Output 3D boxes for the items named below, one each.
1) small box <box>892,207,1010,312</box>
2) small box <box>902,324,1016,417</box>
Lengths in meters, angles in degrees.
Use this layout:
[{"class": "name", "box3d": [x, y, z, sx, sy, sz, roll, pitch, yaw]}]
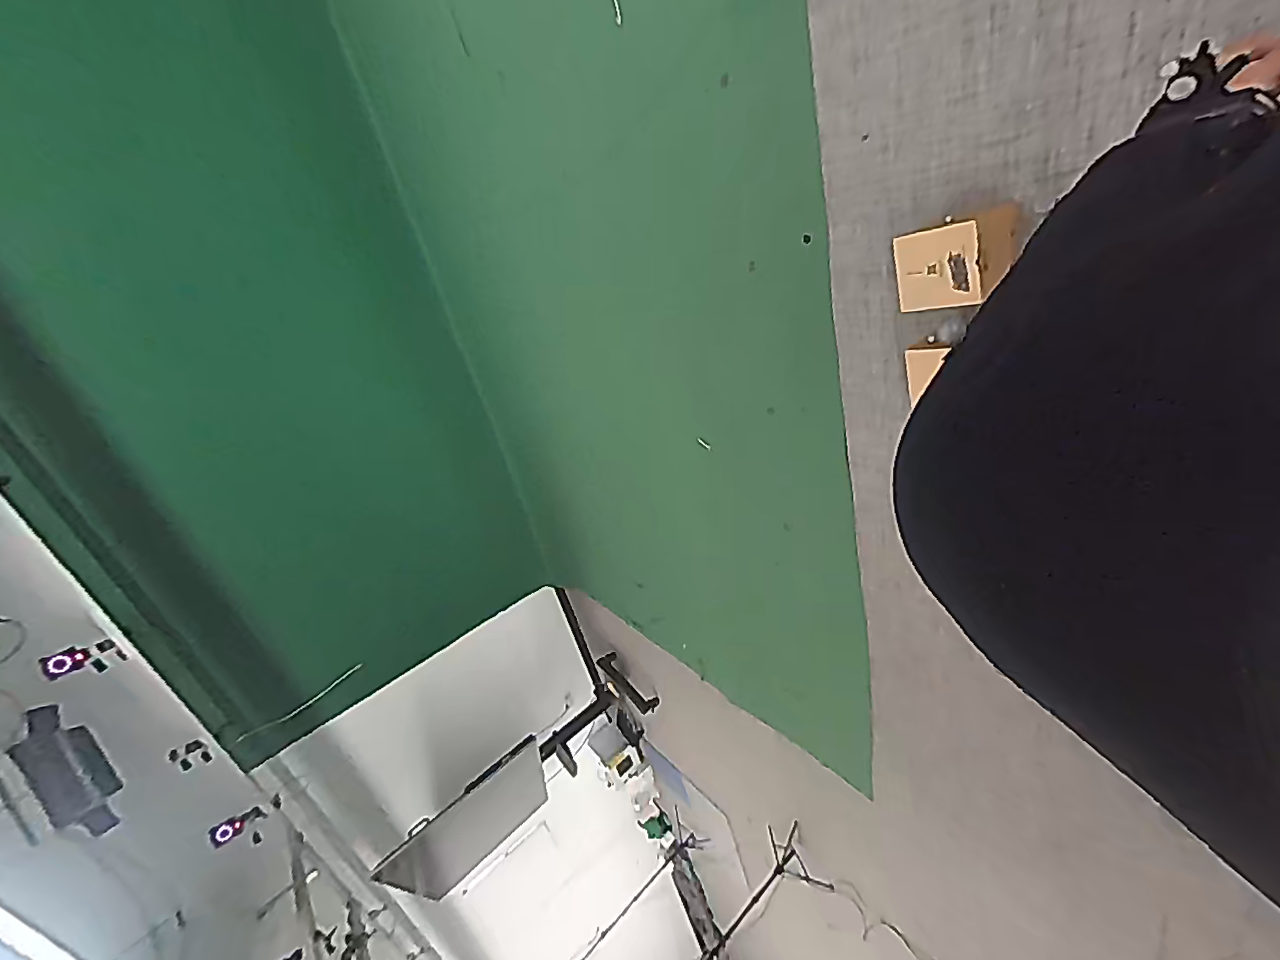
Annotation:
[{"class": "small box", "box3d": [0.686, -0.480, 1.185, 0.179, 0.176, 0.168, 14, 127, 54]}, {"class": "small box", "box3d": [0.754, -0.260, 1.277, 0.179, 0.176, 0.168, 13, 127, 53]}]
